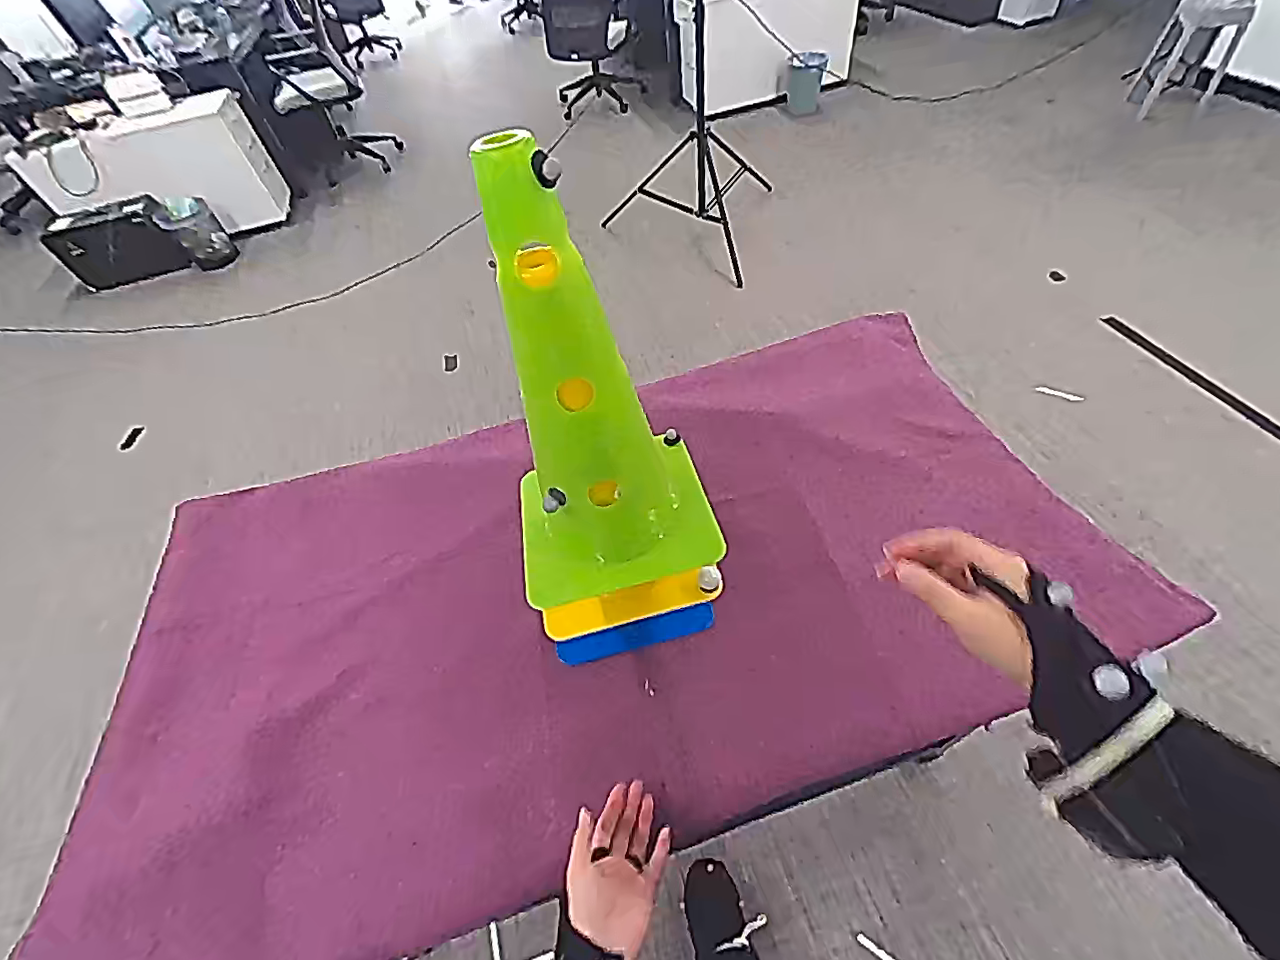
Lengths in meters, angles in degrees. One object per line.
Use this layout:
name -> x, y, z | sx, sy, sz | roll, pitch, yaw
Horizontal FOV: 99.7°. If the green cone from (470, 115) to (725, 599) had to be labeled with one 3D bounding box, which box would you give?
green cone -> -0.059, -0.093, 0.457 | 0.200, 0.368, 0.202 | -16, 45, -2
